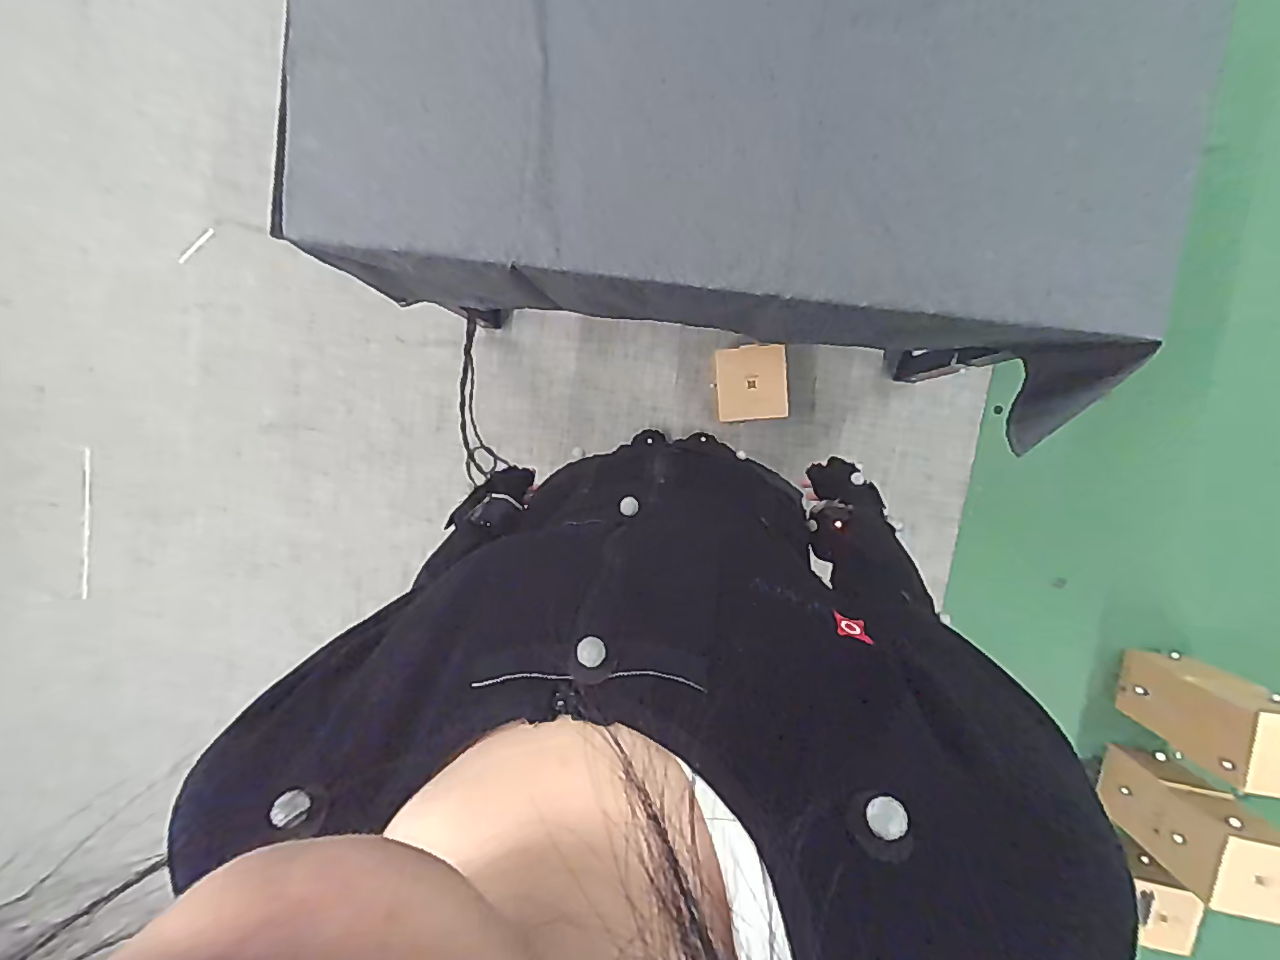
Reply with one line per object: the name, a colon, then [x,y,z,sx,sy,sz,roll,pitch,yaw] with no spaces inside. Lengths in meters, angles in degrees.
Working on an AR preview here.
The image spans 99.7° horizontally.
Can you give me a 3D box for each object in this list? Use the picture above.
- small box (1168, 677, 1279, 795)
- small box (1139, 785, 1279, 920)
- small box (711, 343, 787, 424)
small box: [1.316,0.552,1.178,0.168,0.176,0.179,6,96,4]
small box: [1.280,0.815,1.203,0.179,0.176,0.168,10,97,4]
small box: [0.268,-0.237,1.361,0.168,0.176,0.179,-4,94,5]
